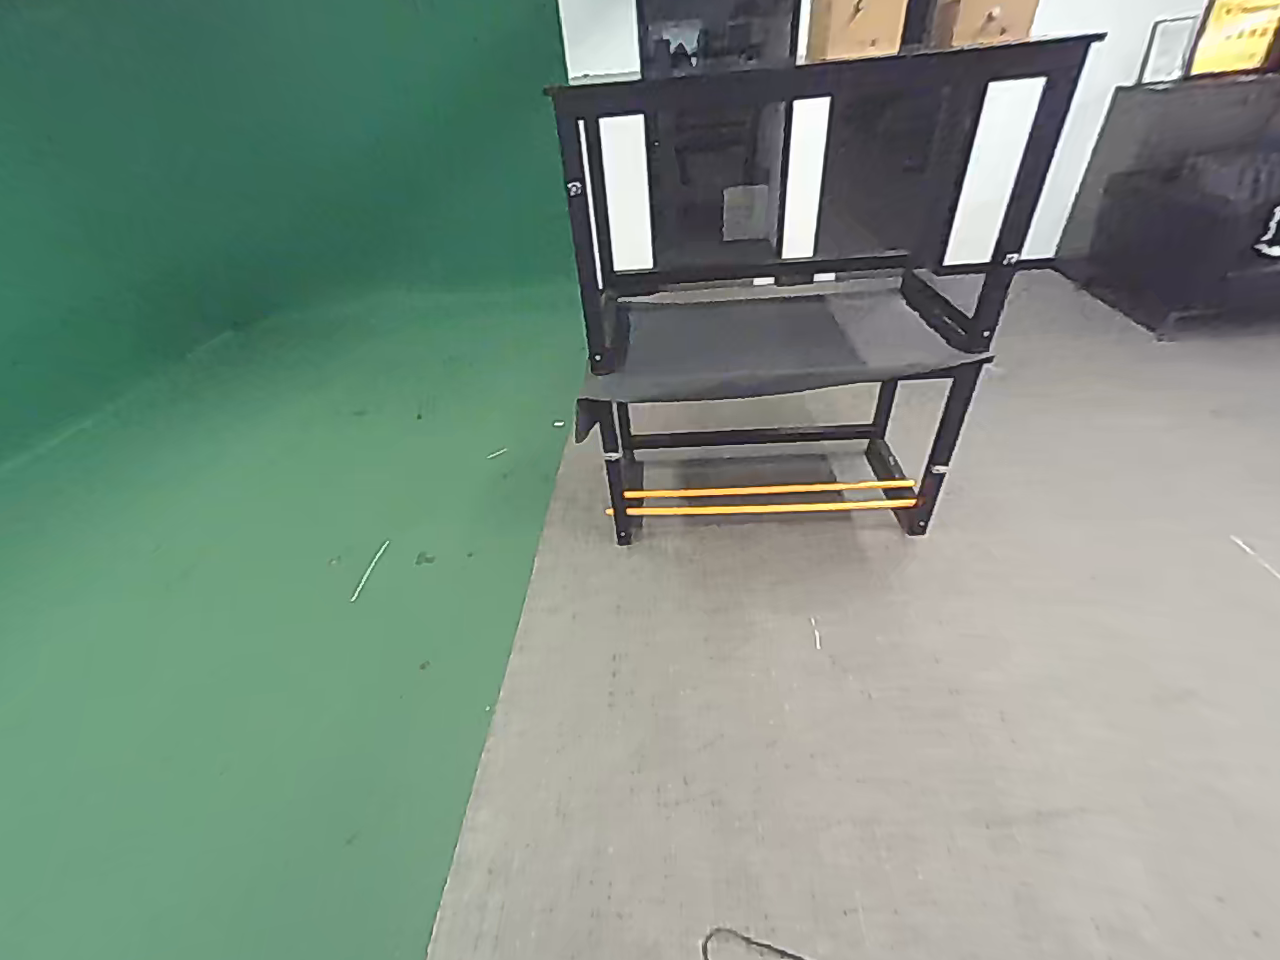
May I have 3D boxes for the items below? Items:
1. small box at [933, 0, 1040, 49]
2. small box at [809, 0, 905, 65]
[{"bbox_3d":[0.795,-1.098,1.235,0.168,0.176,0.179,0,39,9],"label":"small box"},{"bbox_3d":[0.502,-1.079,1.254,0.168,0.176,0.179,-5,37,1],"label":"small box"}]
